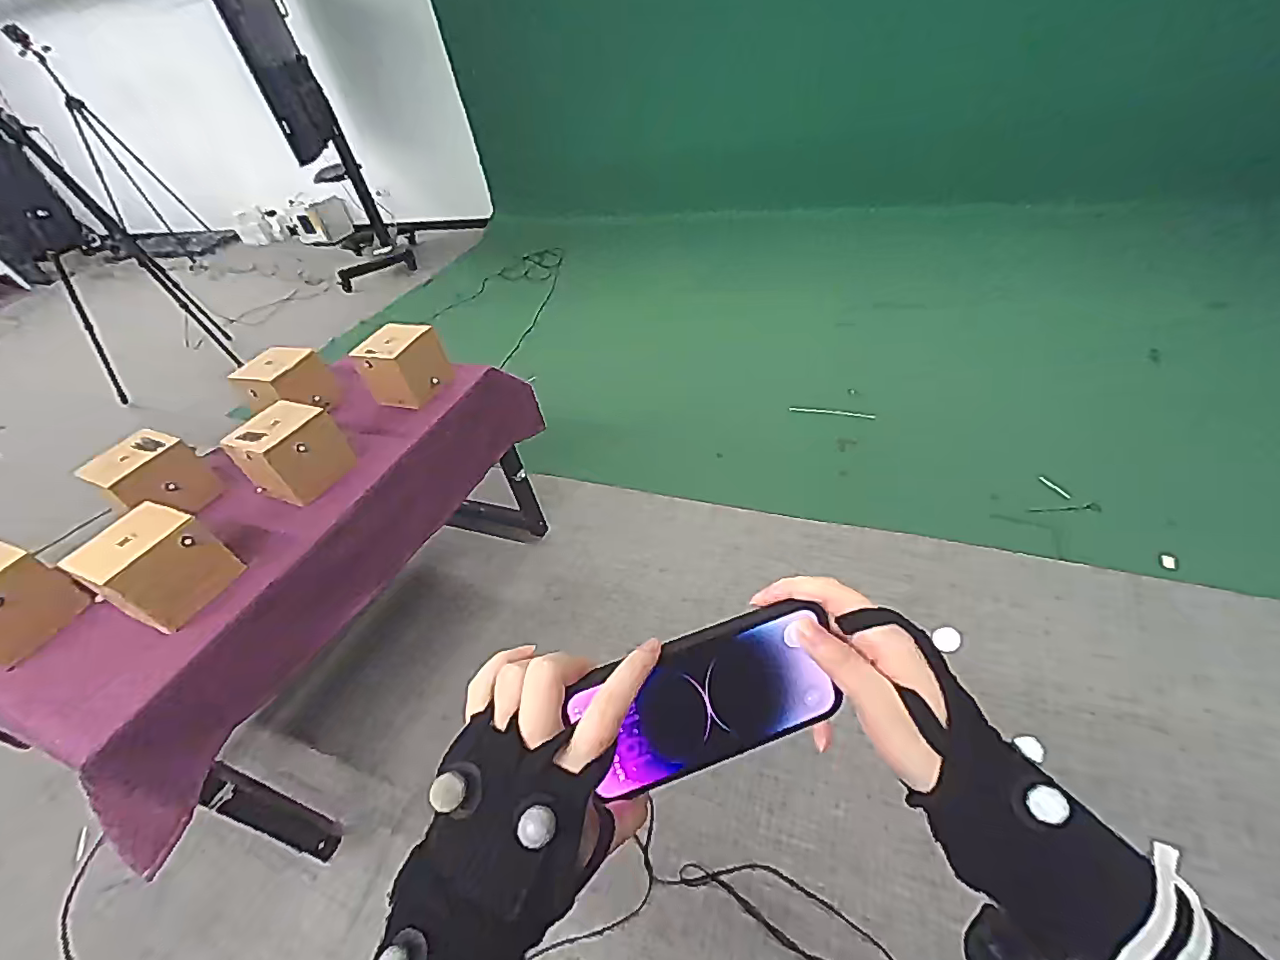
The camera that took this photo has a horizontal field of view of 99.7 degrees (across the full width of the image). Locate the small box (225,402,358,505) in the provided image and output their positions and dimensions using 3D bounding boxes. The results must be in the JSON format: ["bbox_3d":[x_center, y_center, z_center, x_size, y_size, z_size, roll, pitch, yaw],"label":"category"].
[{"bbox_3d":[-0.833,-0.063,1.310,0.168,0.176,0.179,12,46,24],"label":"small box"}]

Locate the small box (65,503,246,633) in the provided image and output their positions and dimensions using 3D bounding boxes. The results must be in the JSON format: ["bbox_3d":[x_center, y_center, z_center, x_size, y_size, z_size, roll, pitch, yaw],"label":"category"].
[{"bbox_3d":[-0.952,0.176,1.079,0.168,0.176,0.179,10,46,23],"label":"small box"}]

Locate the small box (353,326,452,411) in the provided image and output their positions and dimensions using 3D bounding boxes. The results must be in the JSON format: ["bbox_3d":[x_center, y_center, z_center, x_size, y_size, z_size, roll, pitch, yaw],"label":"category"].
[{"bbox_3d":[-0.668,-0.322,1.551,0.168,0.176,0.179,8,46,22],"label":"small box"}]

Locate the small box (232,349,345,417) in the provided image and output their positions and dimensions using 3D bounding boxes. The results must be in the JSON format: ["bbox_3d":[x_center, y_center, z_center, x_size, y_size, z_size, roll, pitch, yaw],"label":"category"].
[{"bbox_3d":[-1.008,-0.261,1.563,0.179,0.176,0.168,8,46,20],"label":"small box"}]
